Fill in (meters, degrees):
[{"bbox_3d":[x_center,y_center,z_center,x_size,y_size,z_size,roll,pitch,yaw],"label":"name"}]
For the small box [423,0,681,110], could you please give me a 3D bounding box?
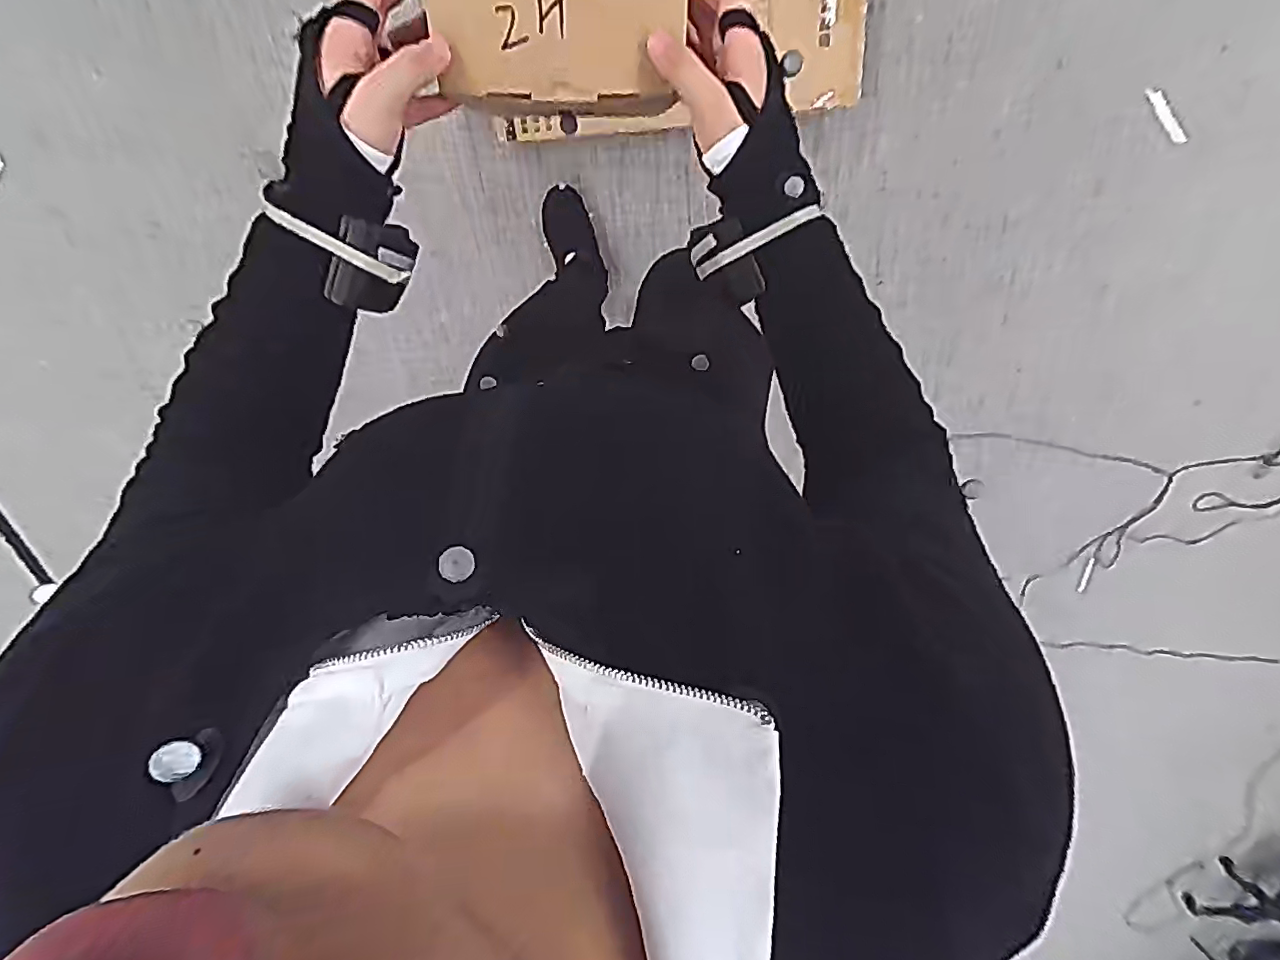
[{"bbox_3d":[-0.061,-0.380,0.388,0.168,0.176,0.179,-2,121,-4],"label":"small box"}]
